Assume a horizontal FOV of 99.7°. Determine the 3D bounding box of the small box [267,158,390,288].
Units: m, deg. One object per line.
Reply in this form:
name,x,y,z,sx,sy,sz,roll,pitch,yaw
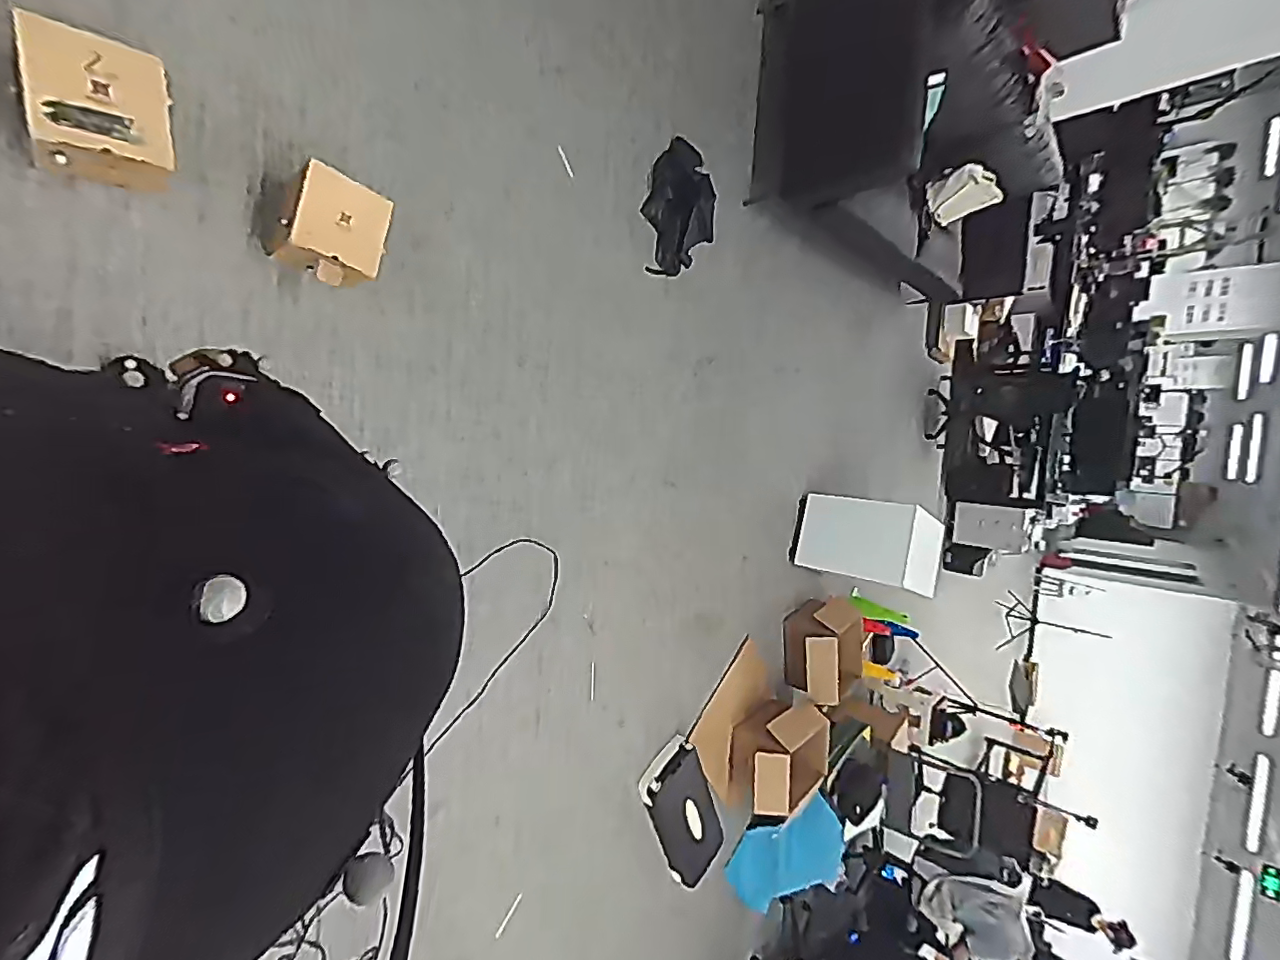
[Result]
small box,-0.662,-0.531,1.146,0.168,0.176,0.179,15,84,-48
